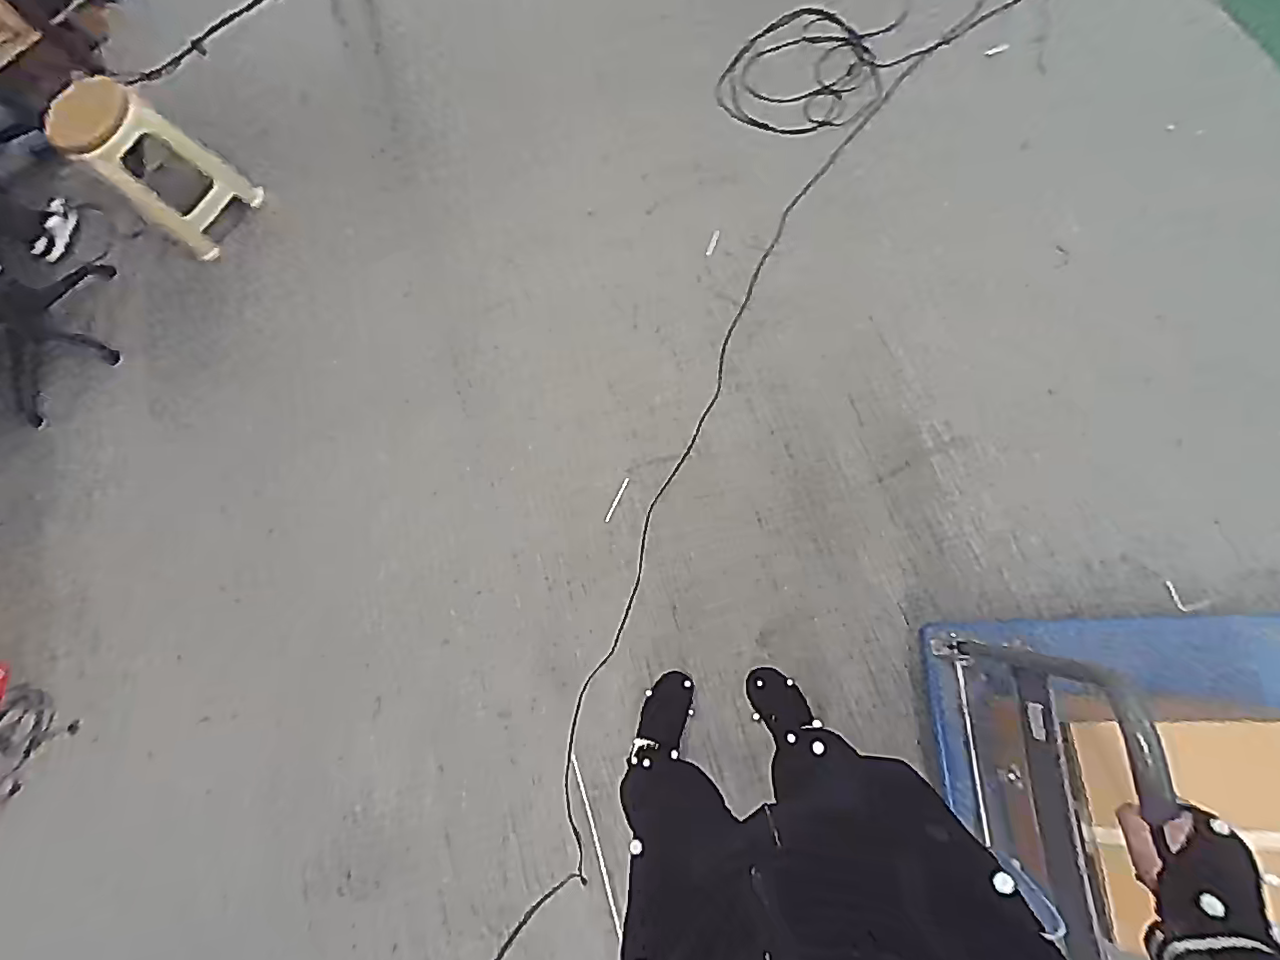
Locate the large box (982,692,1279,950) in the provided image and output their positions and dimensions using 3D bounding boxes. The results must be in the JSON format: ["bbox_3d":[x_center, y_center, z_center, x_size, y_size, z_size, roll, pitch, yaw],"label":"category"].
[{"bbox_3d":[0.902,0.553,0.943,0.408,0.320,0.320,-4,76,9],"label":"large box"}]
